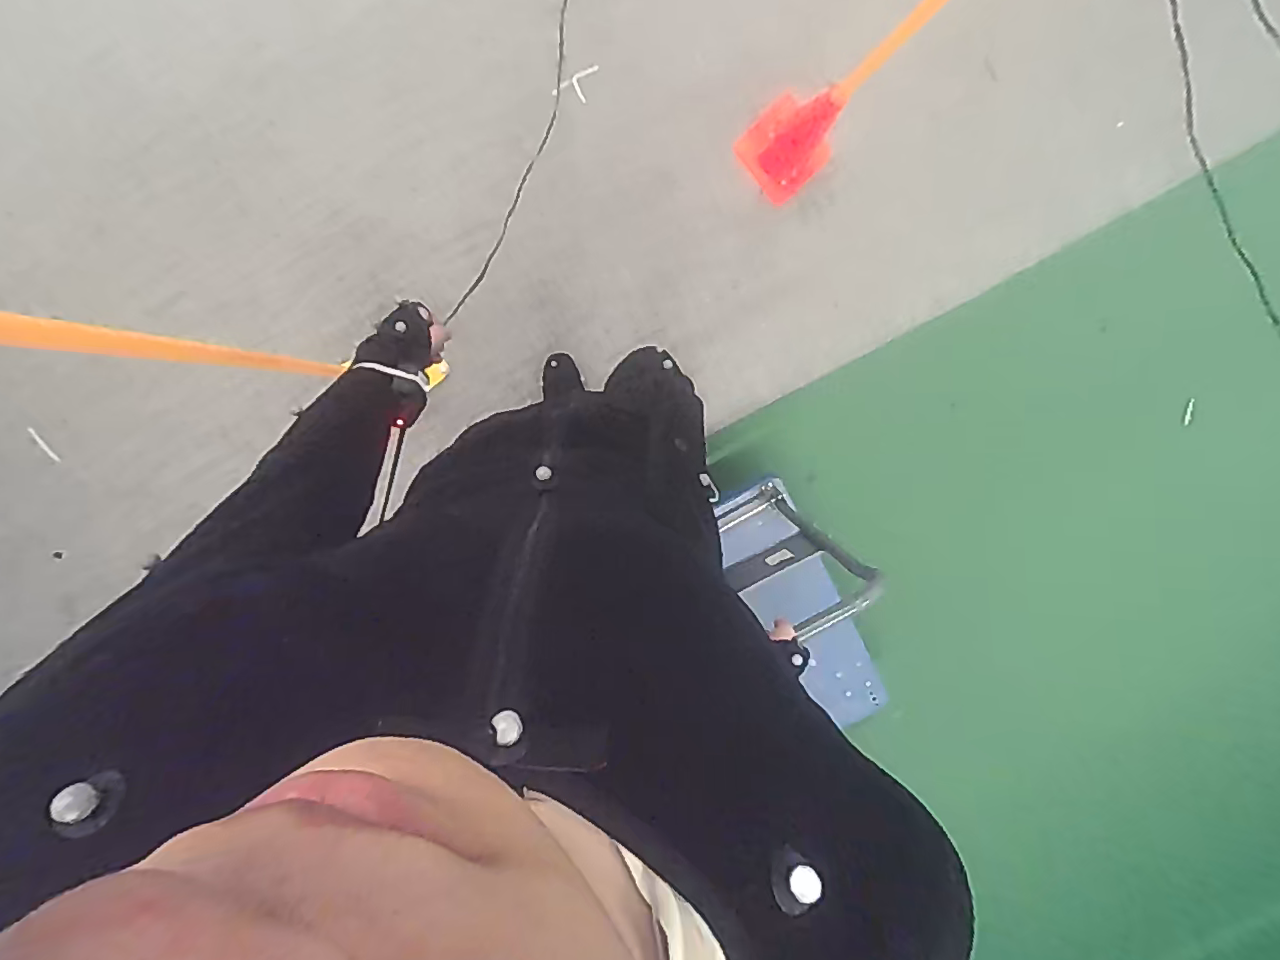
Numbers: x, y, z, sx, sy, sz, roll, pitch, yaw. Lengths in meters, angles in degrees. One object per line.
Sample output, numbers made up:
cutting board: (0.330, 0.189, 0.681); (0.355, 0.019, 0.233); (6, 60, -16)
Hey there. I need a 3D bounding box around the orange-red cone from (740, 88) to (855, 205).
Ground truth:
orange-red cone: (0.406, -0.826, 1.272); (0.199, 0.360, 0.198); (-42, 105, 5)
